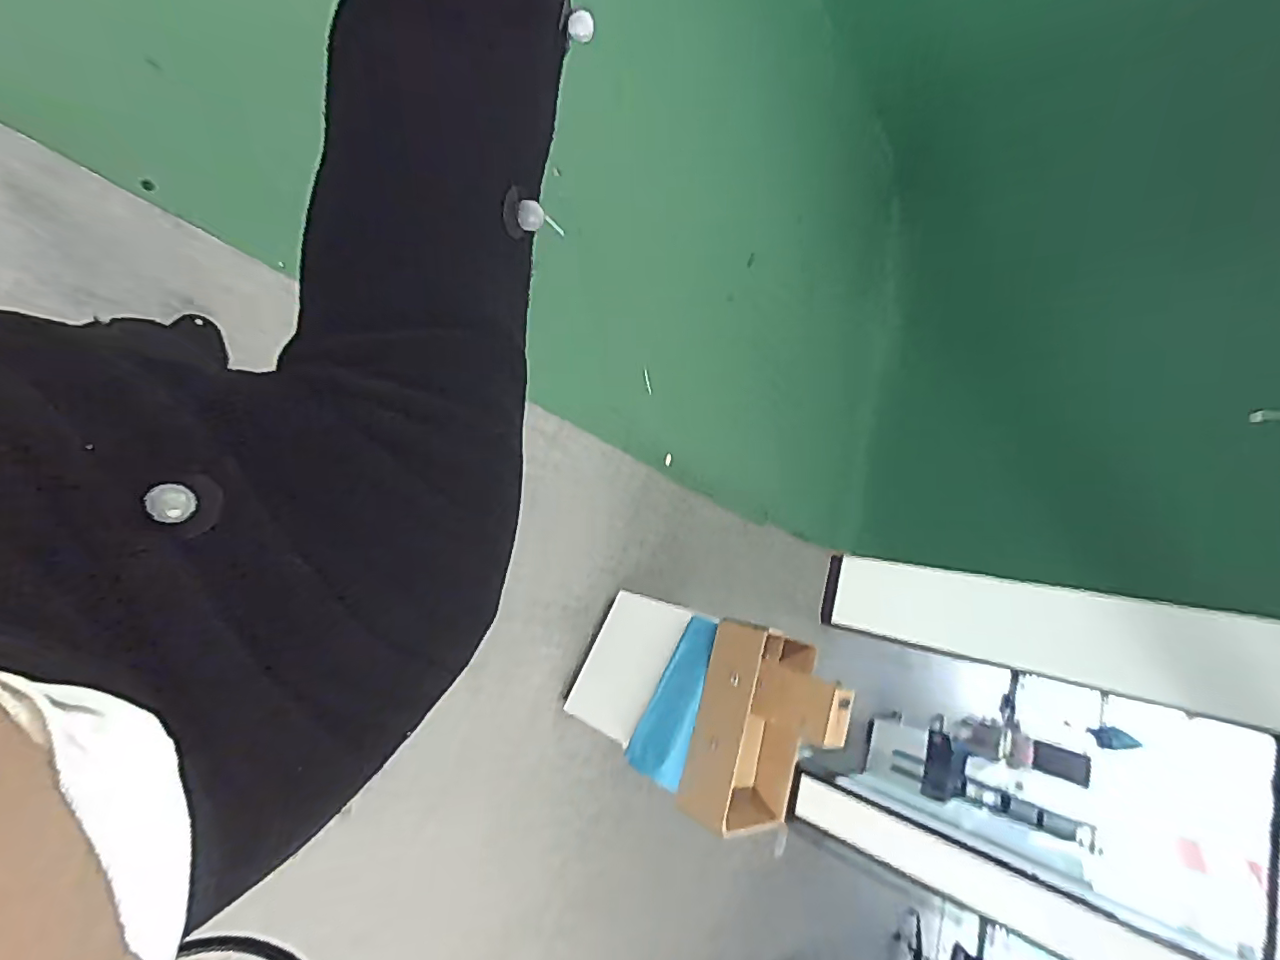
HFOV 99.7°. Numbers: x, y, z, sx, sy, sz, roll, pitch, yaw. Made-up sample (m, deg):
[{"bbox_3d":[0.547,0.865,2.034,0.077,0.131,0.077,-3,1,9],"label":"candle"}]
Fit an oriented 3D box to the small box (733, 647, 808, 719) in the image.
[{"bbox_3d":[0.436,0.683,1.822,0.168,0.176,0.179,29,75,-45],"label":"small box"}]
